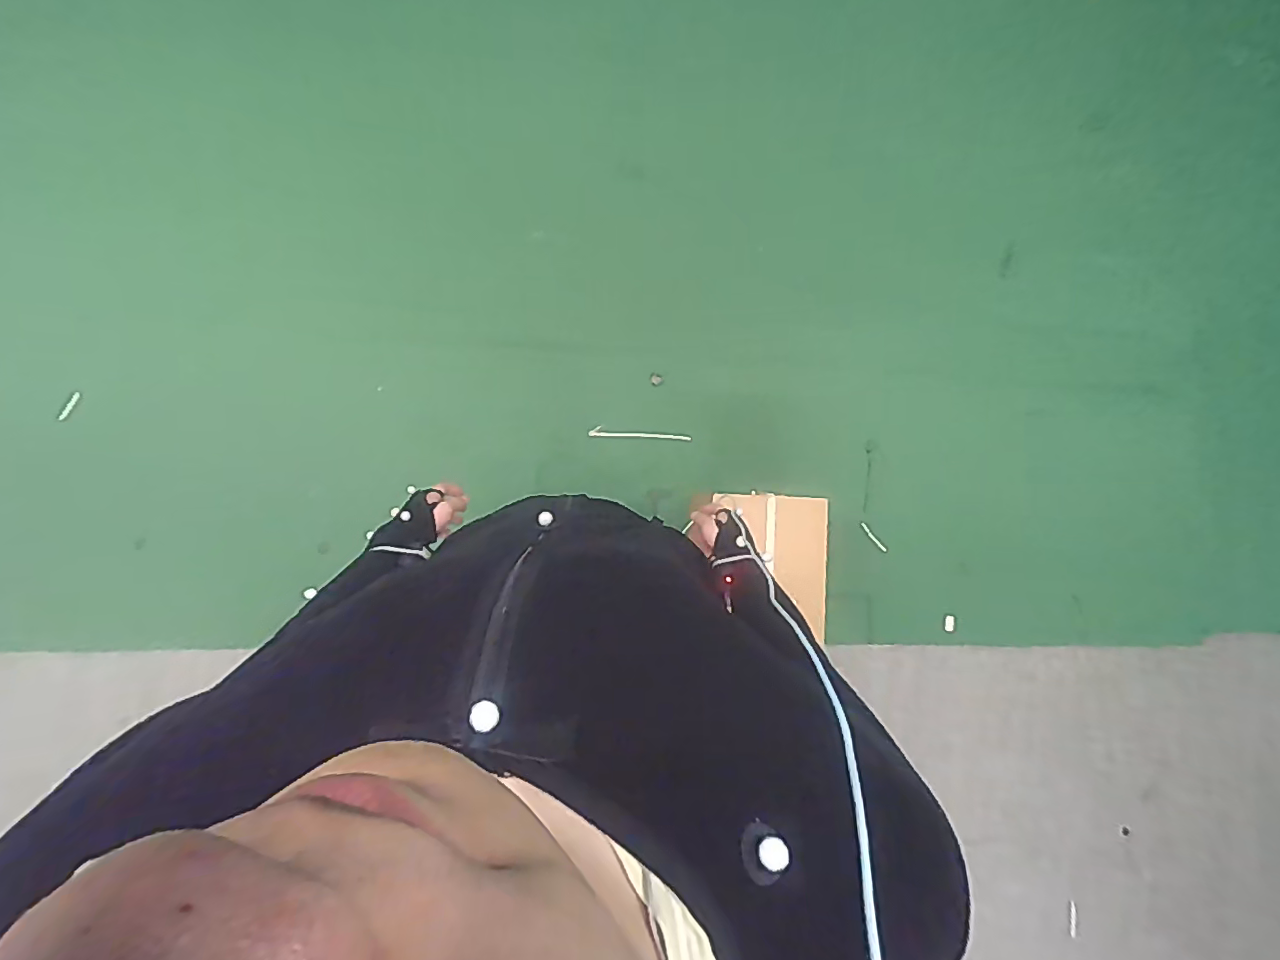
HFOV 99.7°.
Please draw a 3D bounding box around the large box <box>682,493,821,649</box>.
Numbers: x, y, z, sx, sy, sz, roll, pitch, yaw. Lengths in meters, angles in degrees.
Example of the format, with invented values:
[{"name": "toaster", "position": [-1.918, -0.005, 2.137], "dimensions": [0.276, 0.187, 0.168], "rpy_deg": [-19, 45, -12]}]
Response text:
[{"name": "large box", "position": [0.302, 0.241, 1.551], "dimensions": [0.320, 0.320, 0.408], "rpy_deg": [3, 88, -6]}]
